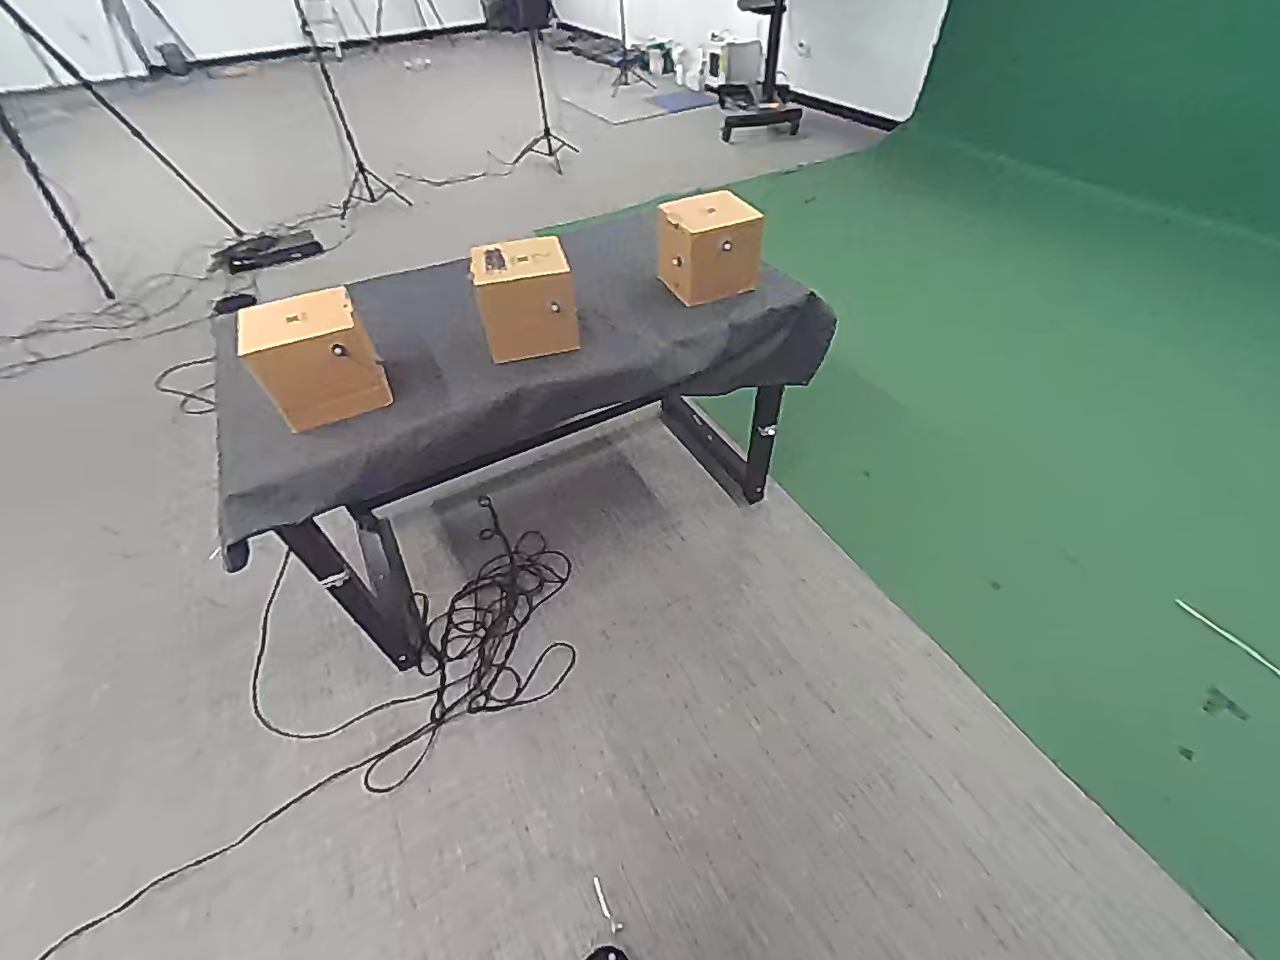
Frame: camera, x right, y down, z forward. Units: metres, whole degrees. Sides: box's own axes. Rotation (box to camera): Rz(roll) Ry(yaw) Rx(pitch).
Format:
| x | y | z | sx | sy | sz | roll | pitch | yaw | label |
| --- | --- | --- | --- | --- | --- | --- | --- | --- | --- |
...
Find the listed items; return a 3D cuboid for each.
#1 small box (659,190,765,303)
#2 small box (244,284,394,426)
| x | y | z | sx | sy | sz | roll | pitch | yaw | label |
| --- | --- | --- | --- | --- | --- | --- | --- | --- | --- |
| 0.155 | -0.517 | 1.205 | 0.179 | 0.176 | 0.168 | -19 | 50 | -14 | small box |
| -0.572 | -0.222 | 0.973 | 0.179 | 0.176 | 0.168 | -21 | 49 | -17 | small box |
